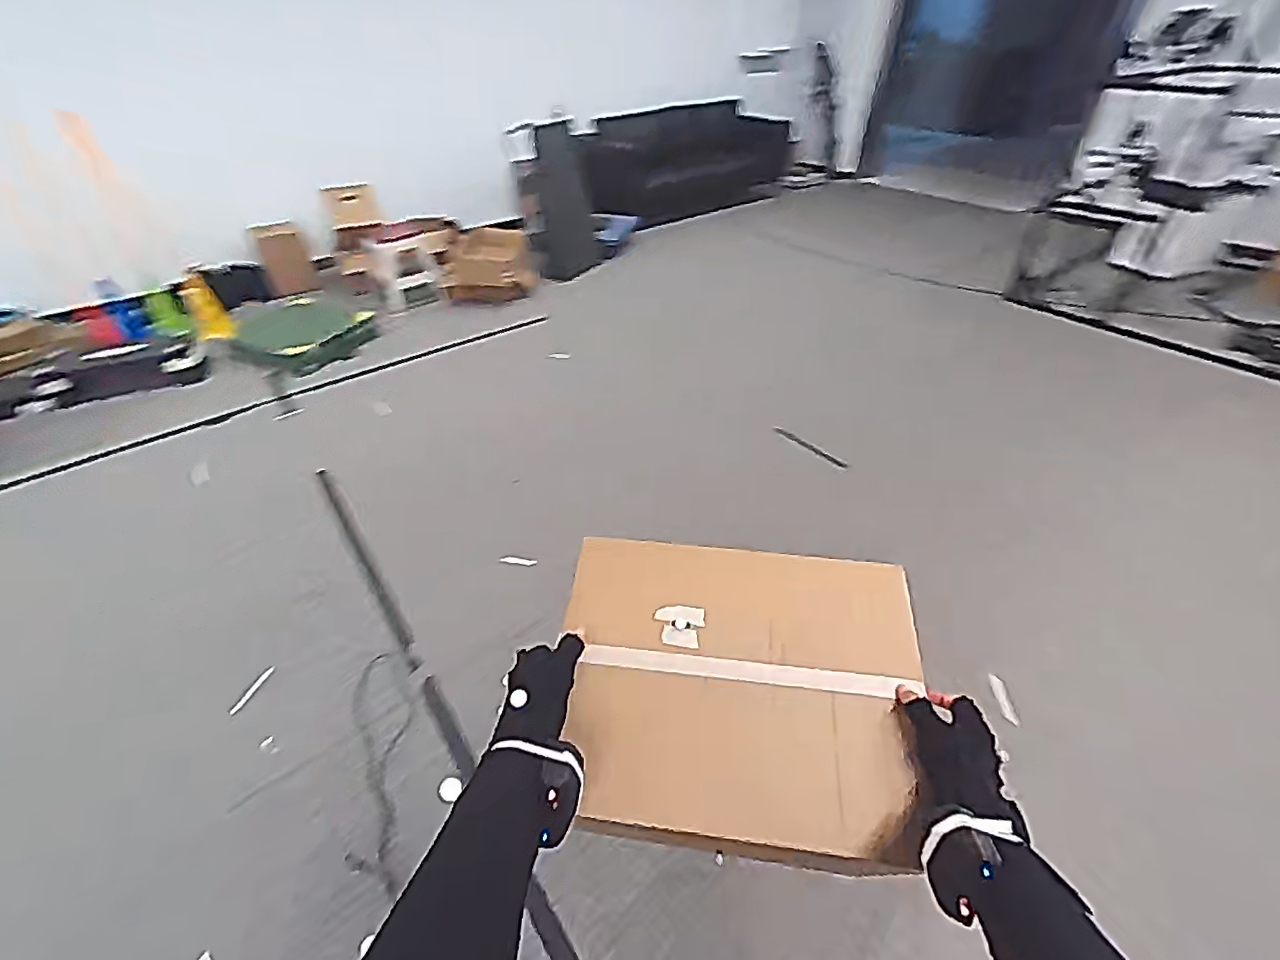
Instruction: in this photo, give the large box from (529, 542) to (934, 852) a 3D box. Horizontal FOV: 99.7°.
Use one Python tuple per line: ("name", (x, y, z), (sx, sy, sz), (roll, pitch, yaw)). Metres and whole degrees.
("large box", (0.107, 0.301, 0.735), (0.408, 0.320, 0.320), (3, 54, 6))
